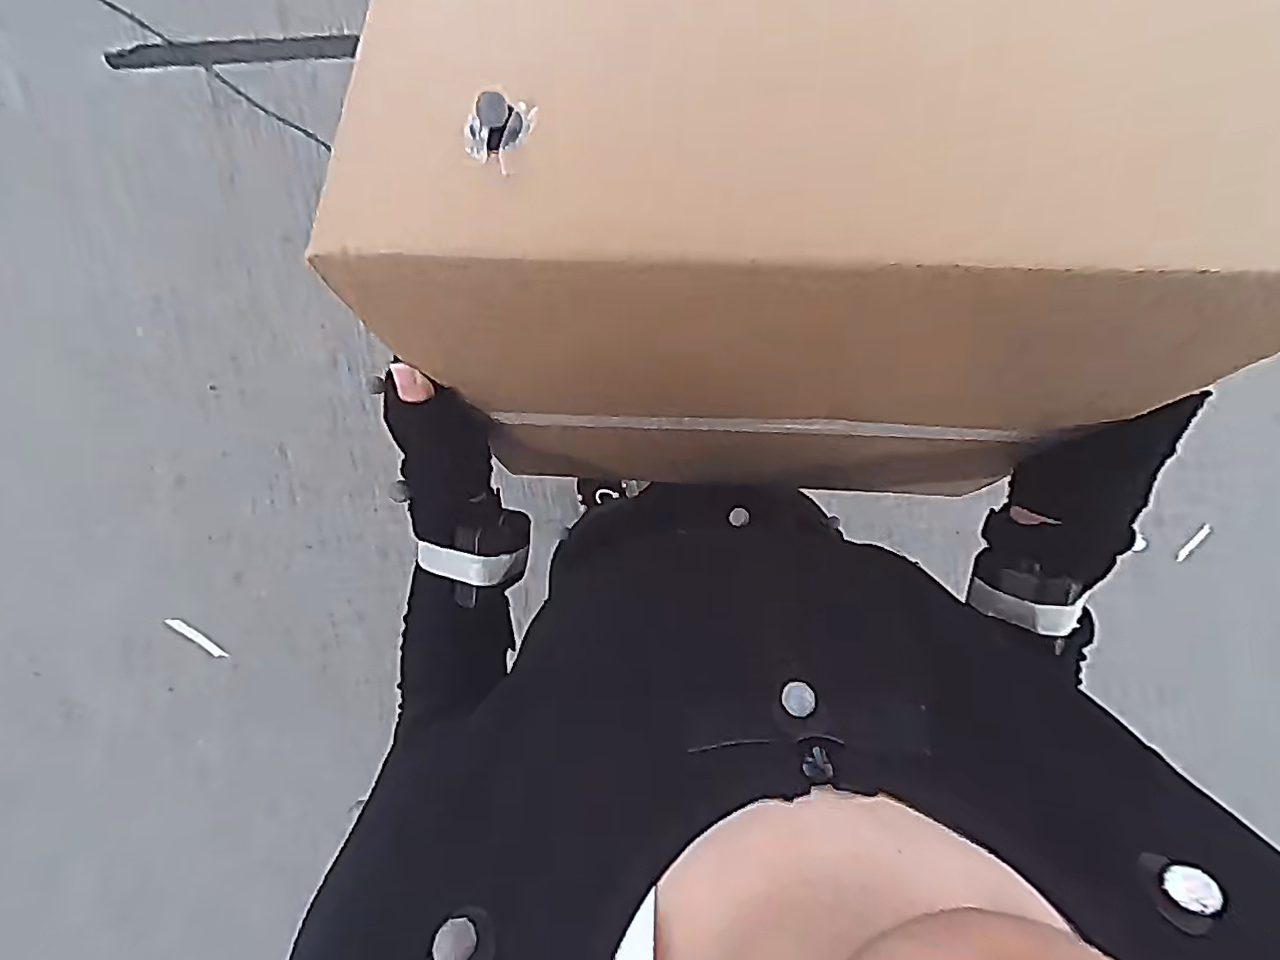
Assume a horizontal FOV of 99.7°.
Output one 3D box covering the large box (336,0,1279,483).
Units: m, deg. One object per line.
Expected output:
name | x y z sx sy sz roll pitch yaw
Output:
large box | 0.083 -0.192 0.392 0.408 0.320 0.320 3 75 2
